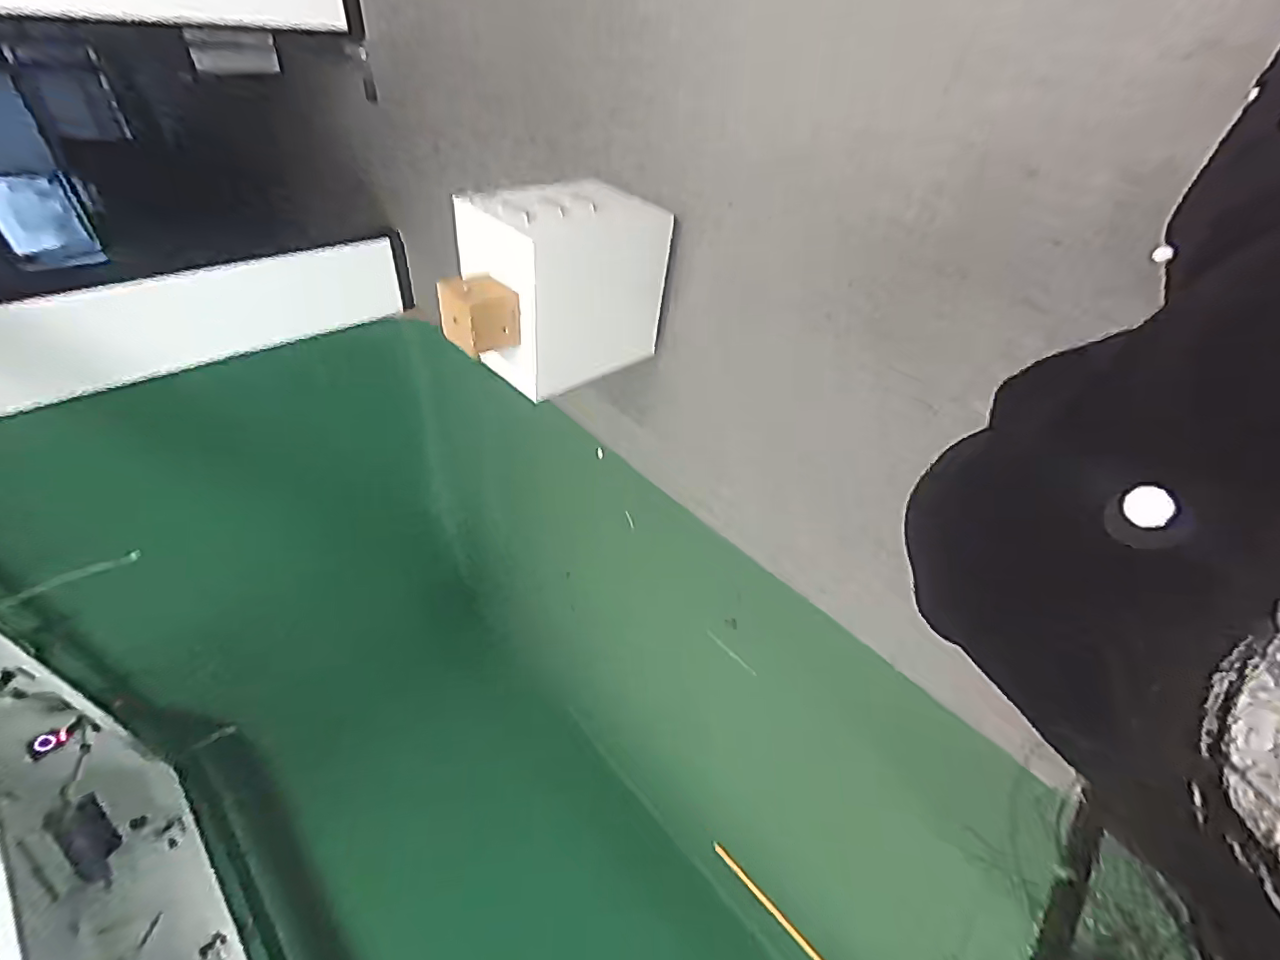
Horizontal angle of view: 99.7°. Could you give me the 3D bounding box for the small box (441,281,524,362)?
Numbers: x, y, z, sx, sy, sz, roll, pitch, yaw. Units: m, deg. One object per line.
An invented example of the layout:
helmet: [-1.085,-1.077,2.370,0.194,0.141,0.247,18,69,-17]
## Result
small box: [-0.464,-0.480,1.610,0.179,0.176,0.168,38,140,29]
